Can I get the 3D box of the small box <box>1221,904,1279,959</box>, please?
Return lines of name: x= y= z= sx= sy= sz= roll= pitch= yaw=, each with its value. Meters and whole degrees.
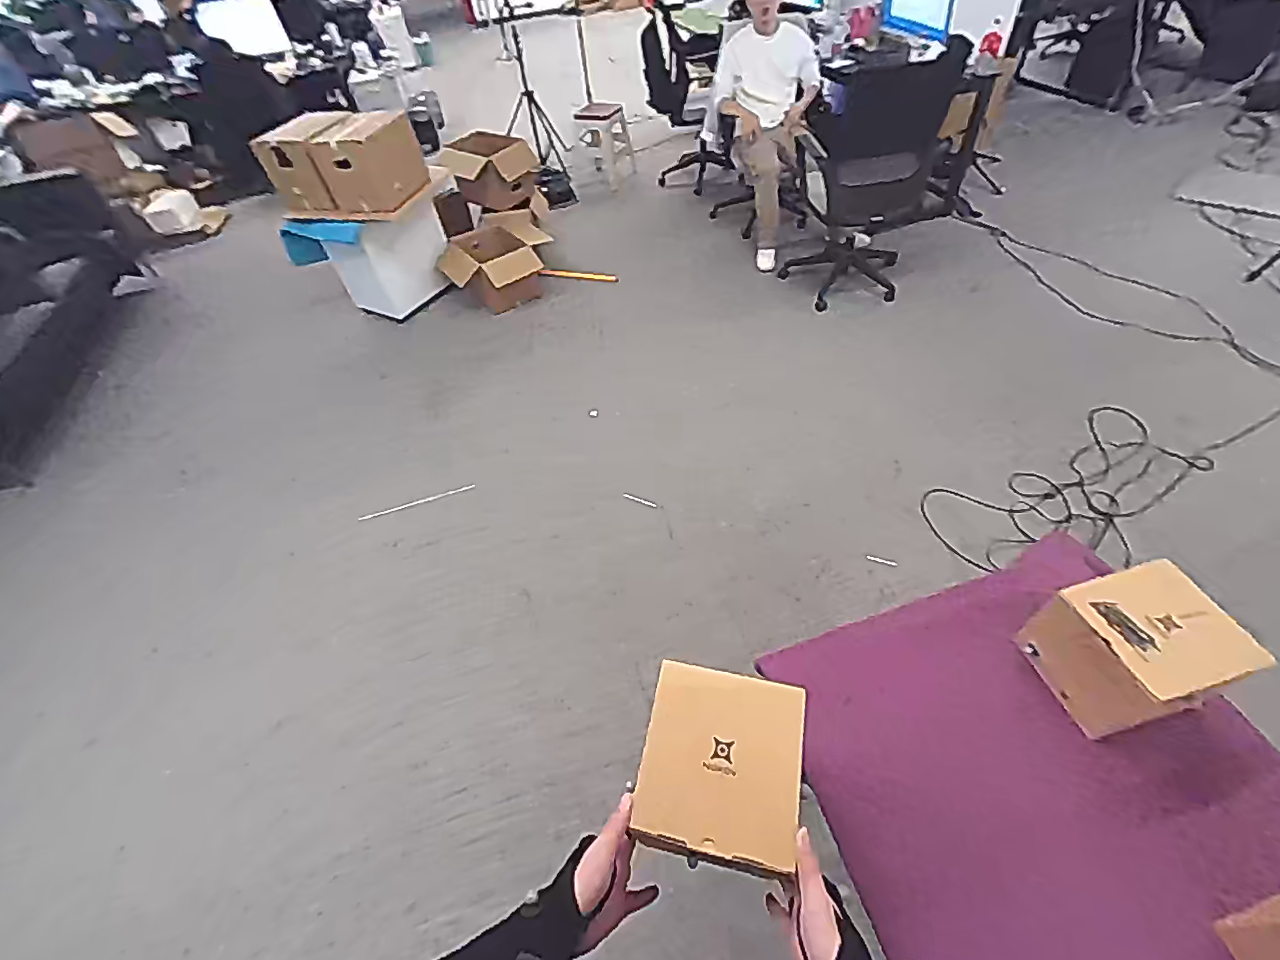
small box: x=0.776 y=0.524 z=0.544 sx=0.179 sy=0.176 sz=0.168 roll=-16 pitch=48 yaw=-6

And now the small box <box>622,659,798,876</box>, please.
small box: x=0.082 y=0.338 z=0.634 sx=0.168 sy=0.176 sz=0.179 roll=9 pitch=55 yaw=10

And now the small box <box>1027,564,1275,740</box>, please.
small box: x=0.708 y=0.253 z=0.785 sx=0.179 sy=0.176 sz=0.168 roll=-15 pitch=49 yaw=-5
